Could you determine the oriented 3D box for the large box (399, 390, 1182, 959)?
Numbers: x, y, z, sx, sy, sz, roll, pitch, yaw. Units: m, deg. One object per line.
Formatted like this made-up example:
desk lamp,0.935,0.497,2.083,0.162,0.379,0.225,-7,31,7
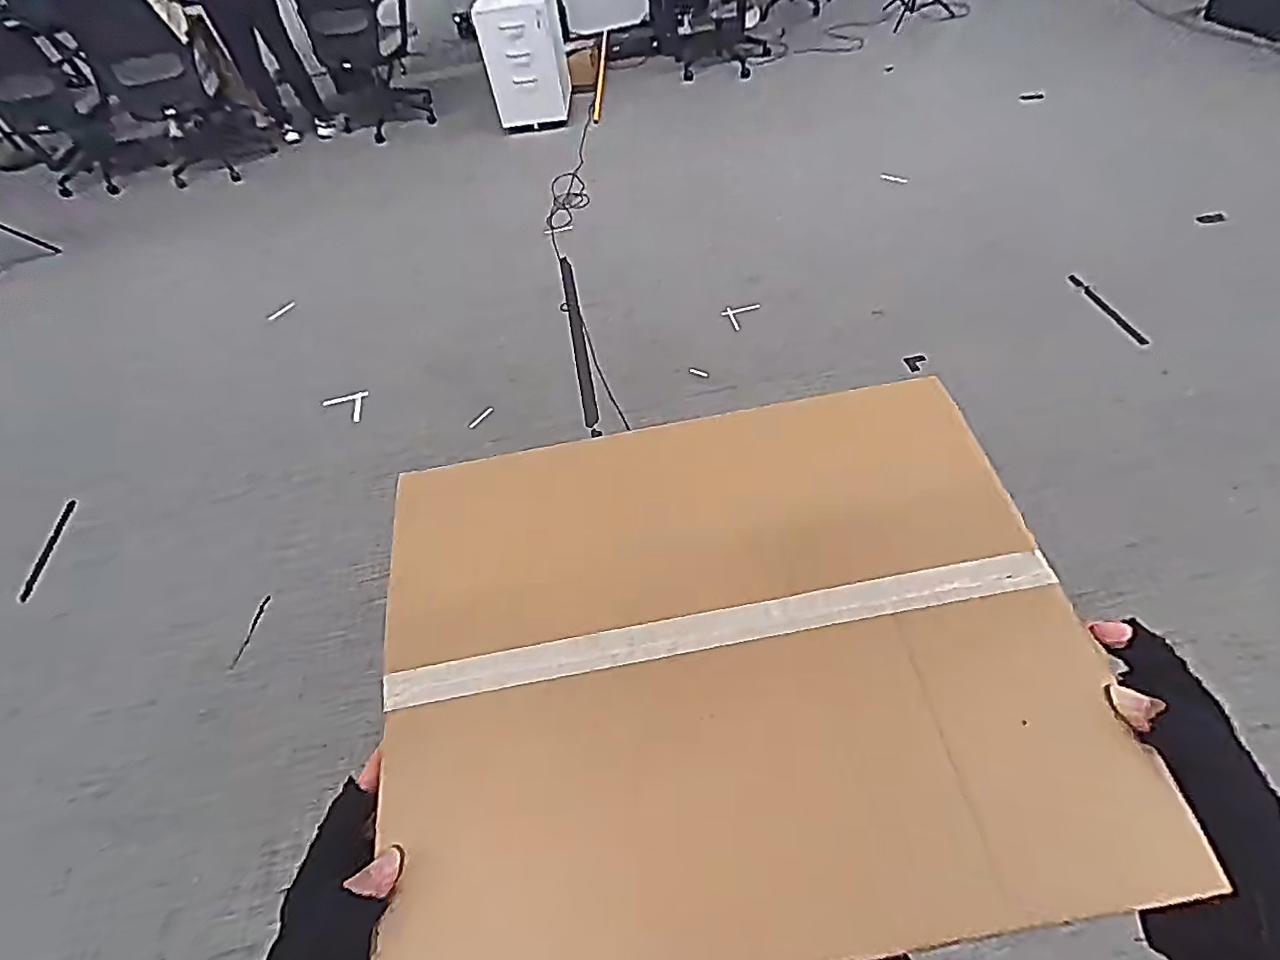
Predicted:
large box,0.063,0.172,0.466,0.408,0.320,0.320,-11,61,0
